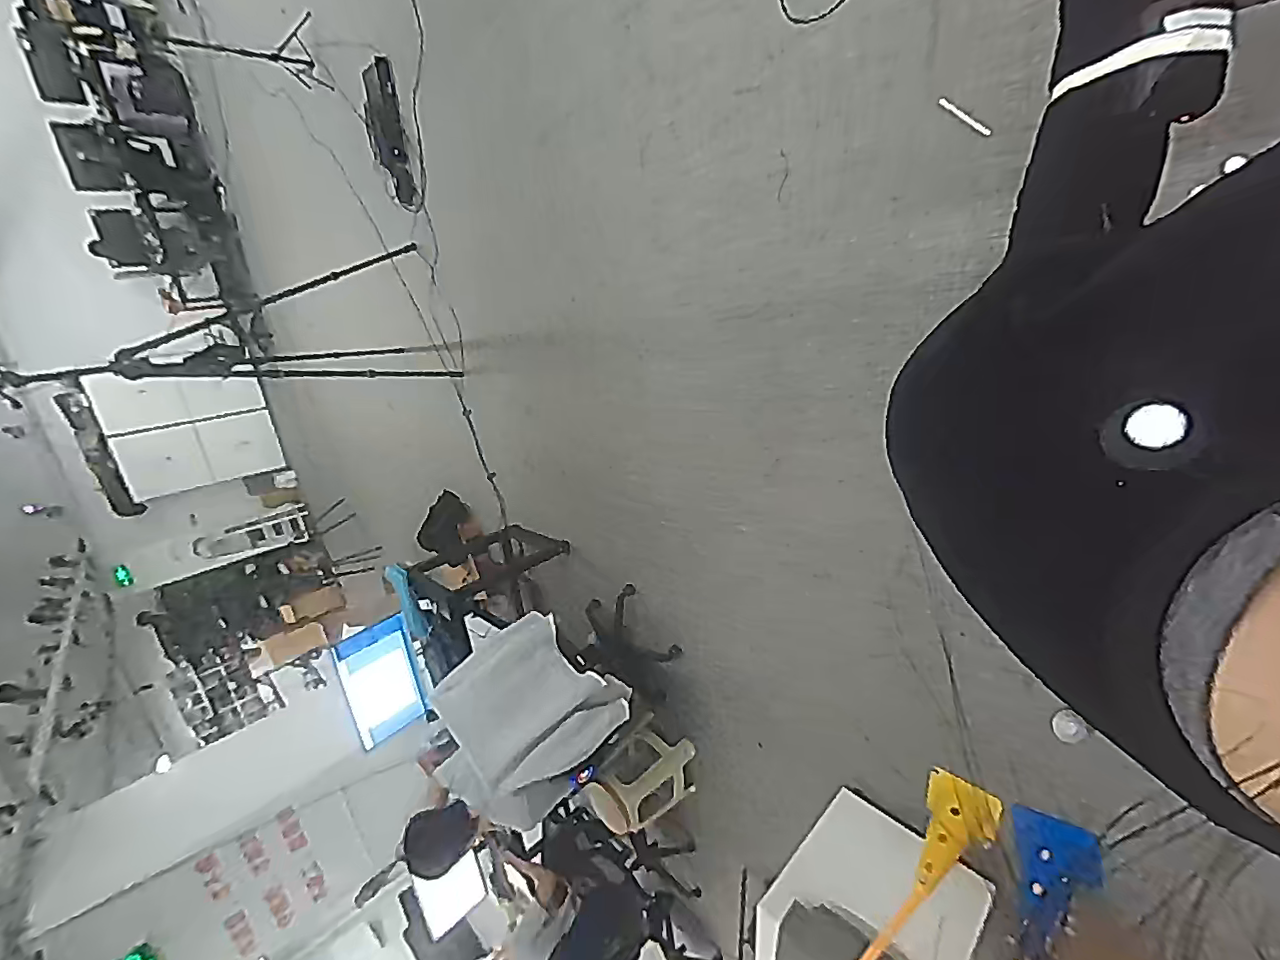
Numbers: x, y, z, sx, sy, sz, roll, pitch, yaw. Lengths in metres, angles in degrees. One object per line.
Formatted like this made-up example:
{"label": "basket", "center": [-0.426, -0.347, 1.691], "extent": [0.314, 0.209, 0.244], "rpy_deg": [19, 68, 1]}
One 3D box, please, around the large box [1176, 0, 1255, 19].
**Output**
{"label": "large box", "center": [0.573, -0.505, 0.261], "extent": [0.408, 0.320, 0.320], "rpy_deg": [10, 121, 39]}
